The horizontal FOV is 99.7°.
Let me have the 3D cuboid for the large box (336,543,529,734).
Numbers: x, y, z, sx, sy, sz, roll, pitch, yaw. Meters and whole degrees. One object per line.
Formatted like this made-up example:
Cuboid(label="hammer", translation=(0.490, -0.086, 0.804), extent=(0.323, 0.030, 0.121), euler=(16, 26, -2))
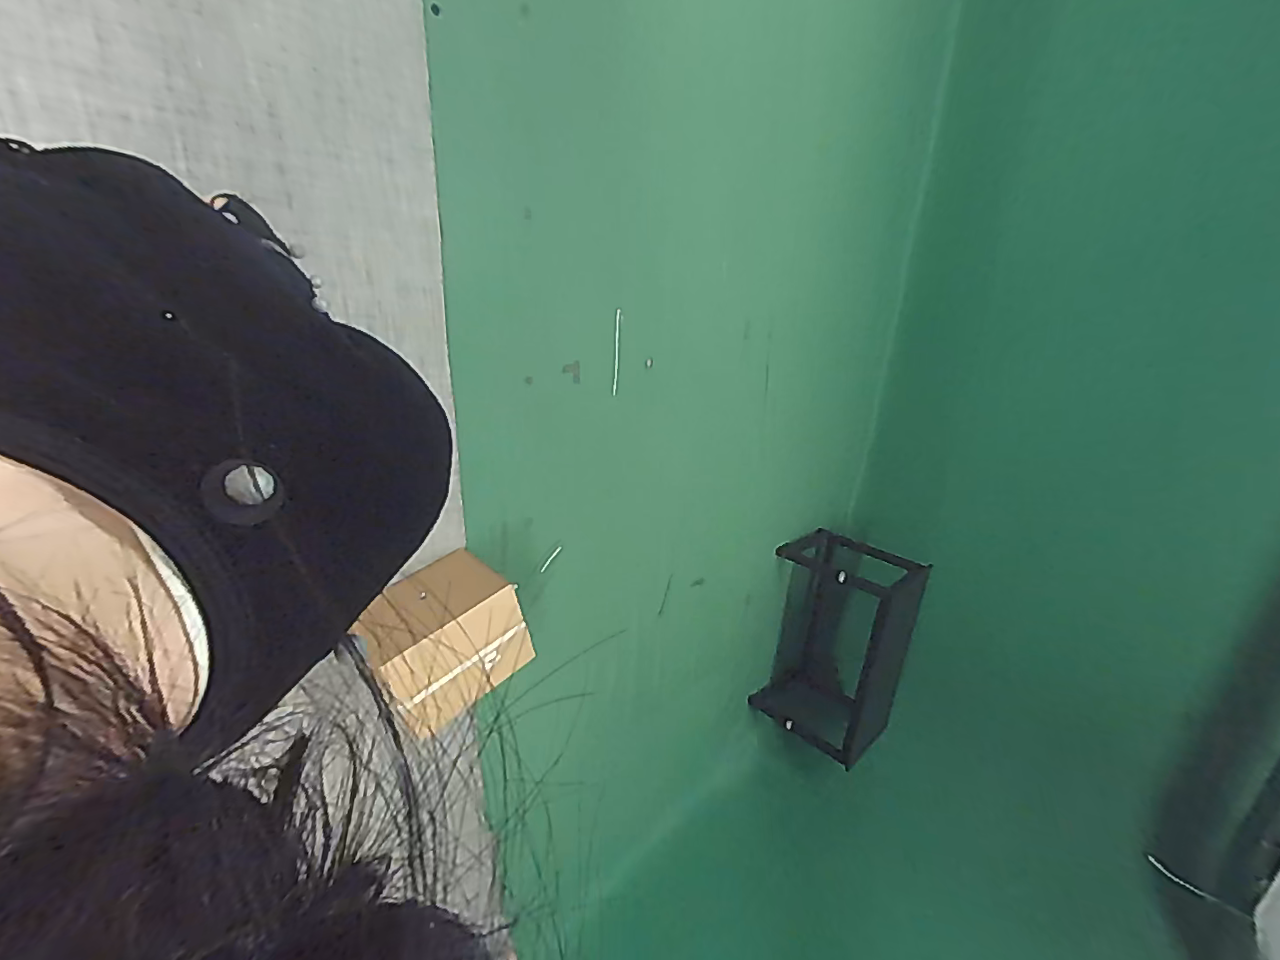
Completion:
Cuboid(label="large box", translation=(-0.617, 0.458, 1.642), extent=(0.408, 0.320, 0.320), euler=(-33, 129, -36))
